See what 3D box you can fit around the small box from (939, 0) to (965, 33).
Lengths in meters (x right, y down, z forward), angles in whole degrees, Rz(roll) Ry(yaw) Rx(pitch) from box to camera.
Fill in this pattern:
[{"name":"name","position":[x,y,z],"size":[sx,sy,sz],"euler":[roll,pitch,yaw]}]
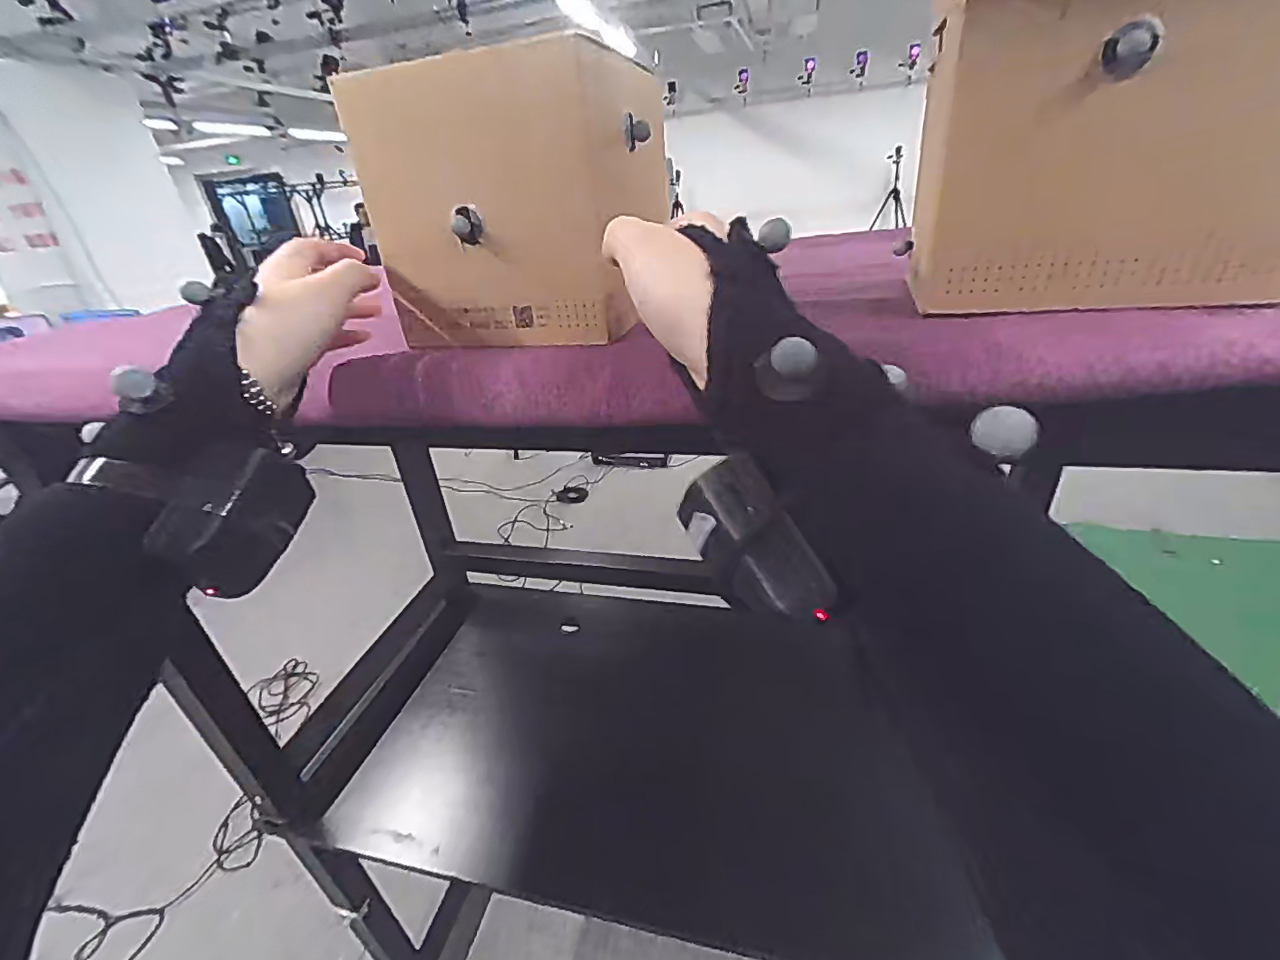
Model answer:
[{"name":"small box","position":[0.258,-0.336,0.260],"size":[0.179,0.176,0.168],"euler":[3,28,16]}]

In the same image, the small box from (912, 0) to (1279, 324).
[{"name":"small box","position":[0.279,-0.199,0.345],"size":[0.179,0.176,0.168],"euler":[5,29,20]}]

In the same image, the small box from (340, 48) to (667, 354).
[{"name":"small box","position":[-0.077,-0.200,0.415],"size":[0.168,0.176,0.179],"euler":[5,30,16]}]
